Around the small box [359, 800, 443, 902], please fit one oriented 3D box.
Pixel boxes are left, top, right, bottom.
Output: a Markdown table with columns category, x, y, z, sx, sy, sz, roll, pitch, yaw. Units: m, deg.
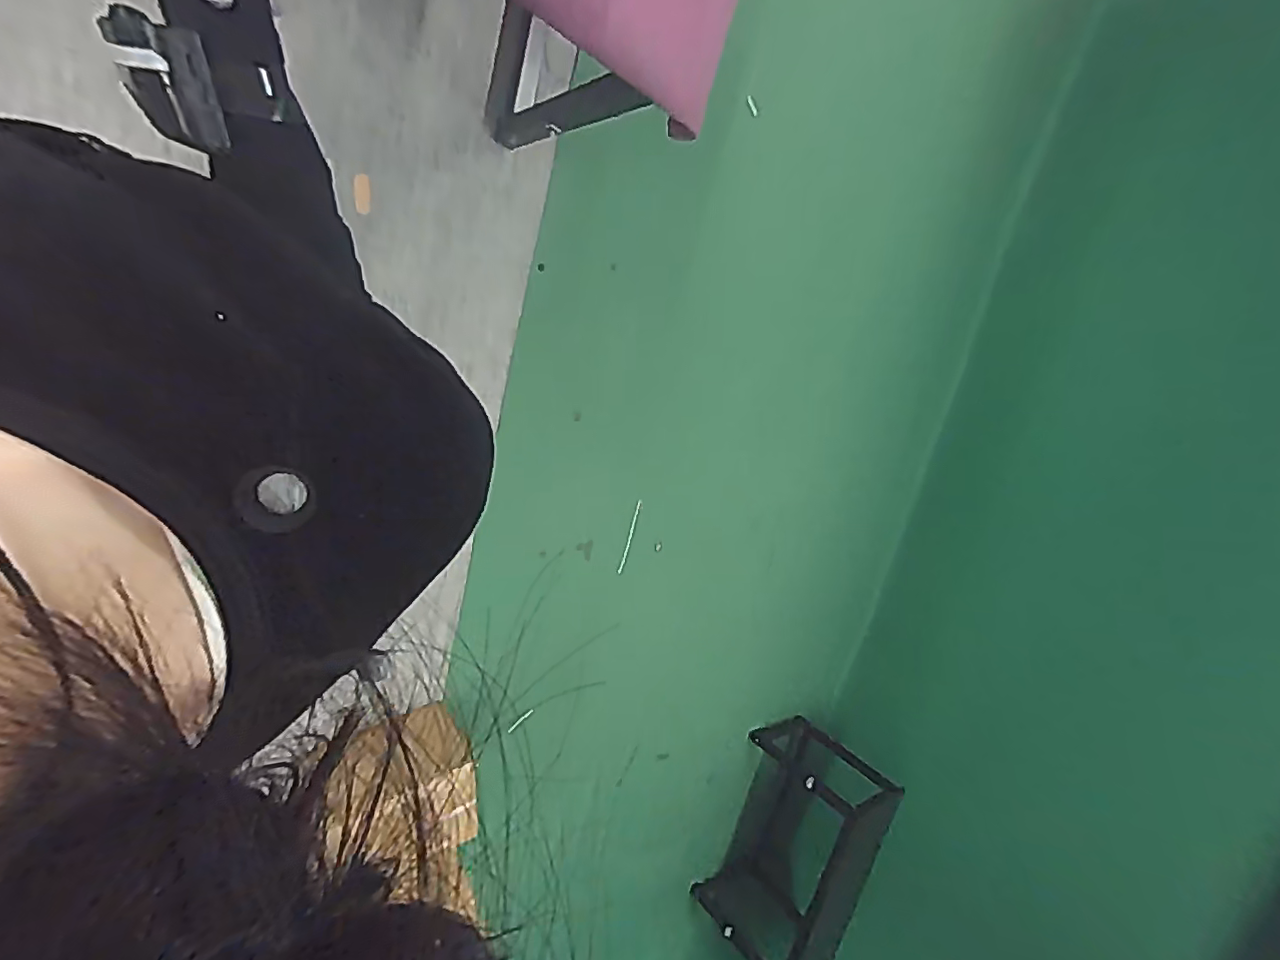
| category | x | y | z | sx | sy | sz | roll | pitch | yaw |
| --- | --- | --- | --- | --- | --- | --- | --- | --- | --- |
| small box | -0.638 | 0.994 | 1.438 | 0.168 | 0.176 | 0.179 | -5 | 111 | -39 |

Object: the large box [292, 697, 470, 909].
| category | x | y | z | sx | sy | sz | roll | pitch | yaw |
| --- | --- | --- | --- | --- | --- | --- | --- | --- | --- |
| large box | -0.776 | 0.944 | 1.639 | 0.408 | 0.320 | 0.320 | -13 | 117 | -39 |

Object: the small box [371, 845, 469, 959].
| category | x | y | z | sx | sy | sz | roll | pitch | yaw |
| --- | --- | --- | --- | --- | --- | --- | --- | --- | --- |
| small box | -0.540 | 1.050 | 1.322 | 0.179 | 0.176 | 0.168 | -4 | 110 | -40 |
